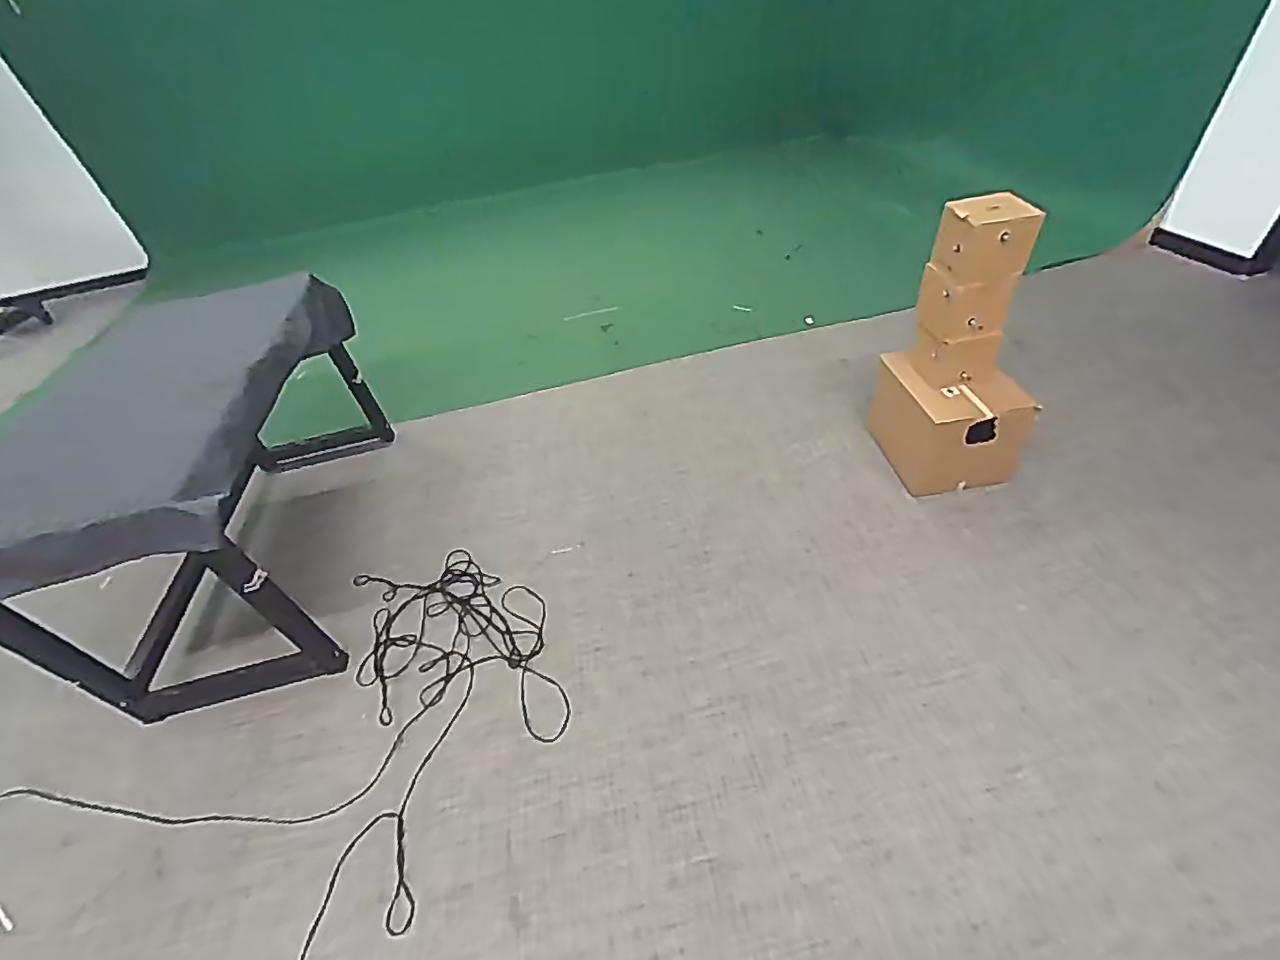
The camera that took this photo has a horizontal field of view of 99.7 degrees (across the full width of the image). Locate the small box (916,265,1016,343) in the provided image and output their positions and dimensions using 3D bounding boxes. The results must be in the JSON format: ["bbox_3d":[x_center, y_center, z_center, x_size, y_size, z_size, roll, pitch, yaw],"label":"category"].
[{"bbox_3d":[0.938,-0.523,1.579,0.168,0.176,0.179,-11,44,-1],"label":"small box"}]

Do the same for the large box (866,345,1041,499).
[{"bbox_3d":[1.014,-0.199,1.819,0.320,0.320,0.408,-11,44,1],"label":"large box"}]

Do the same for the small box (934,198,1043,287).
[{"bbox_3d":[0.929,-0.641,1.467,0.179,0.176,0.168,-8,45,0],"label":"small box"}]
